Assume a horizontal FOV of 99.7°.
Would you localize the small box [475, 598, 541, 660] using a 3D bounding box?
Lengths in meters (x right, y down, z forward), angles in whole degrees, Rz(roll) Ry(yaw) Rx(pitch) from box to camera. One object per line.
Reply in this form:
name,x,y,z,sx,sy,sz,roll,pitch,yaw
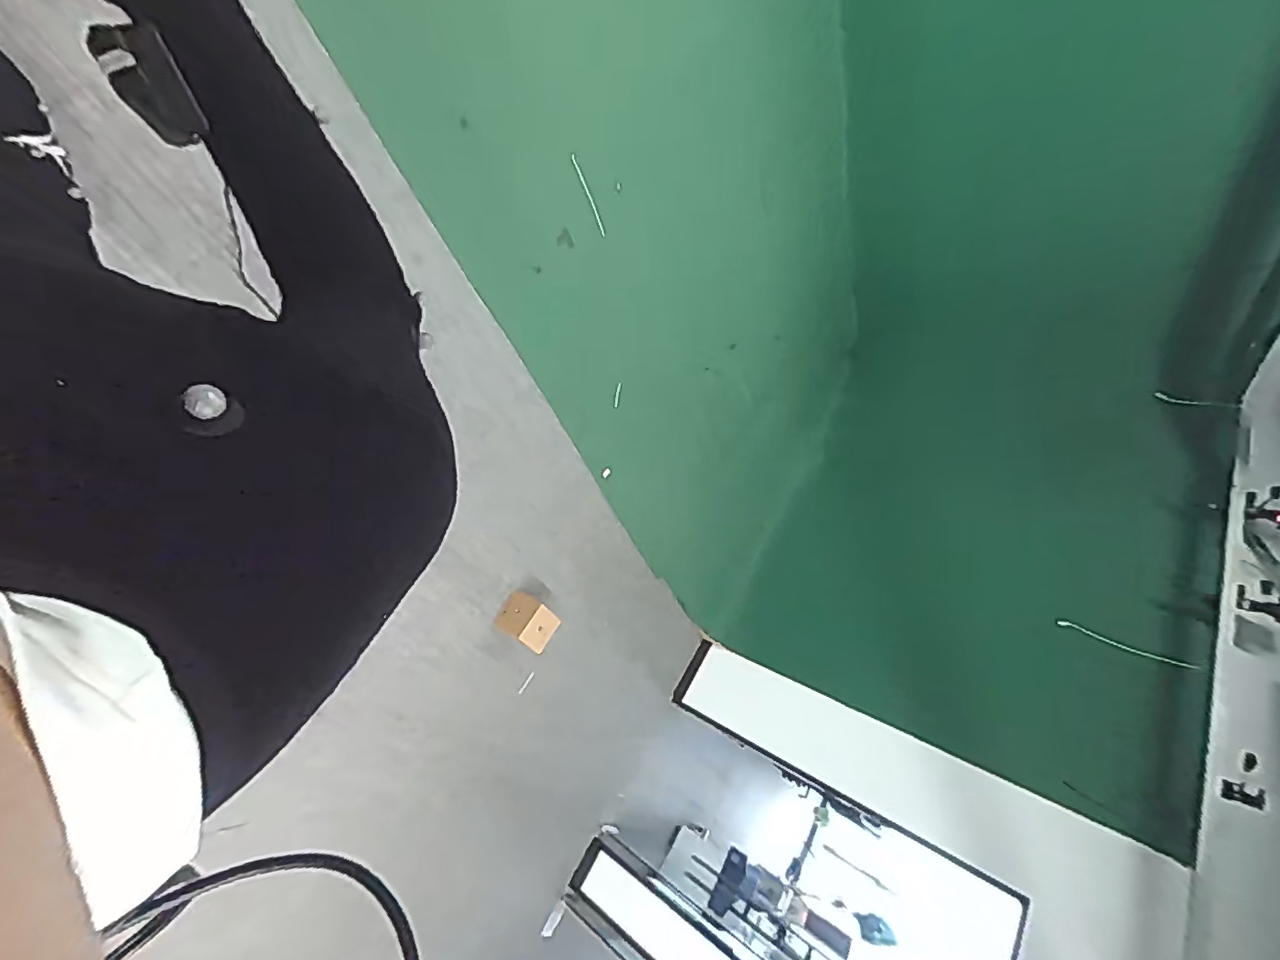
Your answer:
small box,-0.553,0.616,2.254,0.168,0.176,0.179,-54,142,-24
